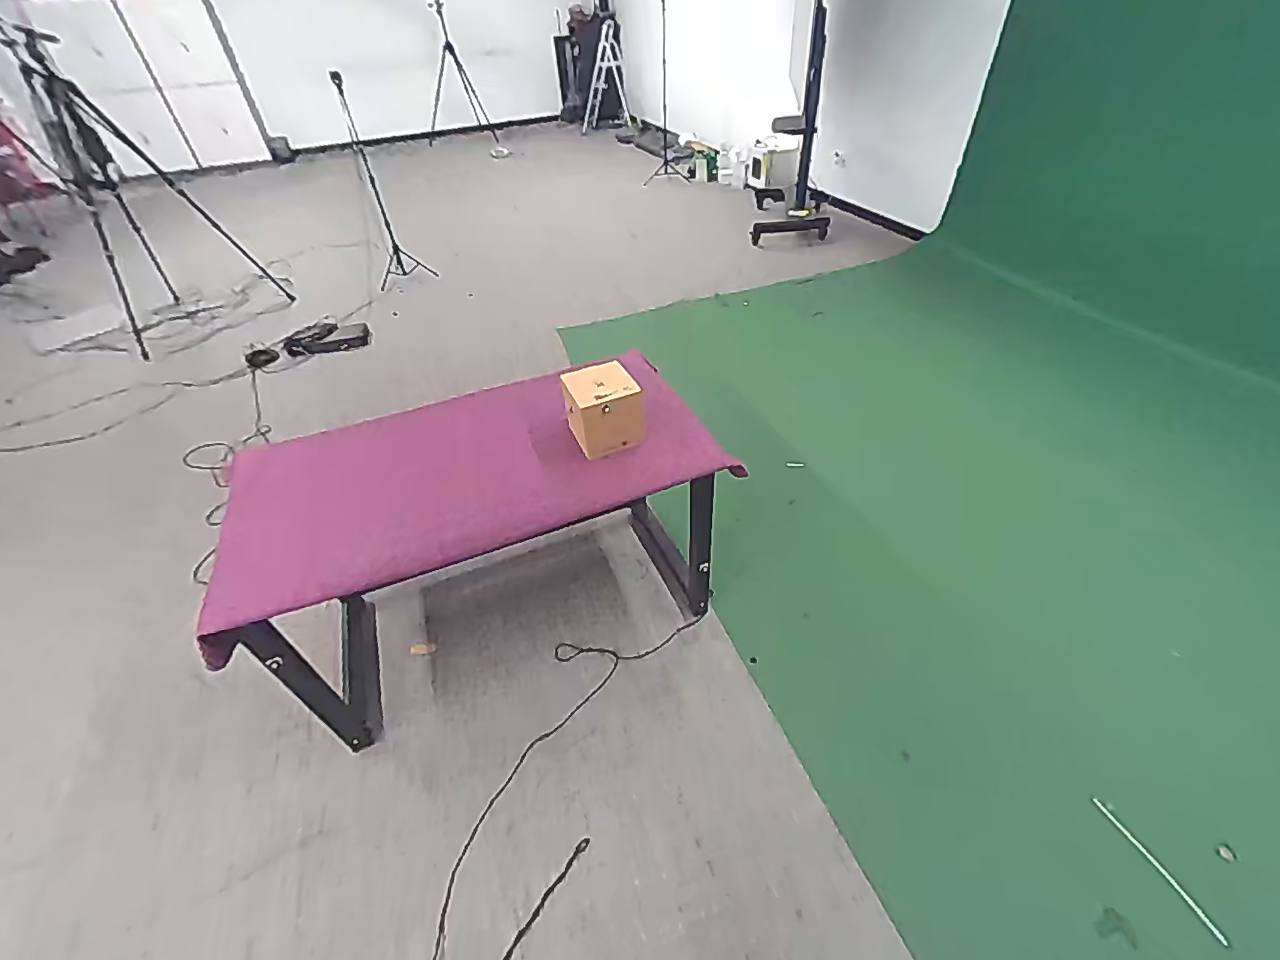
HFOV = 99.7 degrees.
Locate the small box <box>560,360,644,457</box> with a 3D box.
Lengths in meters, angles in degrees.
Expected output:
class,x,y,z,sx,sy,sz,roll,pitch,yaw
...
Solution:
class,x,y,z,sx,sy,sz,roll,pitch,yaw
small box,-0.099,-0.190,1.431,0.168,0.176,0.179,-20,43,-14
